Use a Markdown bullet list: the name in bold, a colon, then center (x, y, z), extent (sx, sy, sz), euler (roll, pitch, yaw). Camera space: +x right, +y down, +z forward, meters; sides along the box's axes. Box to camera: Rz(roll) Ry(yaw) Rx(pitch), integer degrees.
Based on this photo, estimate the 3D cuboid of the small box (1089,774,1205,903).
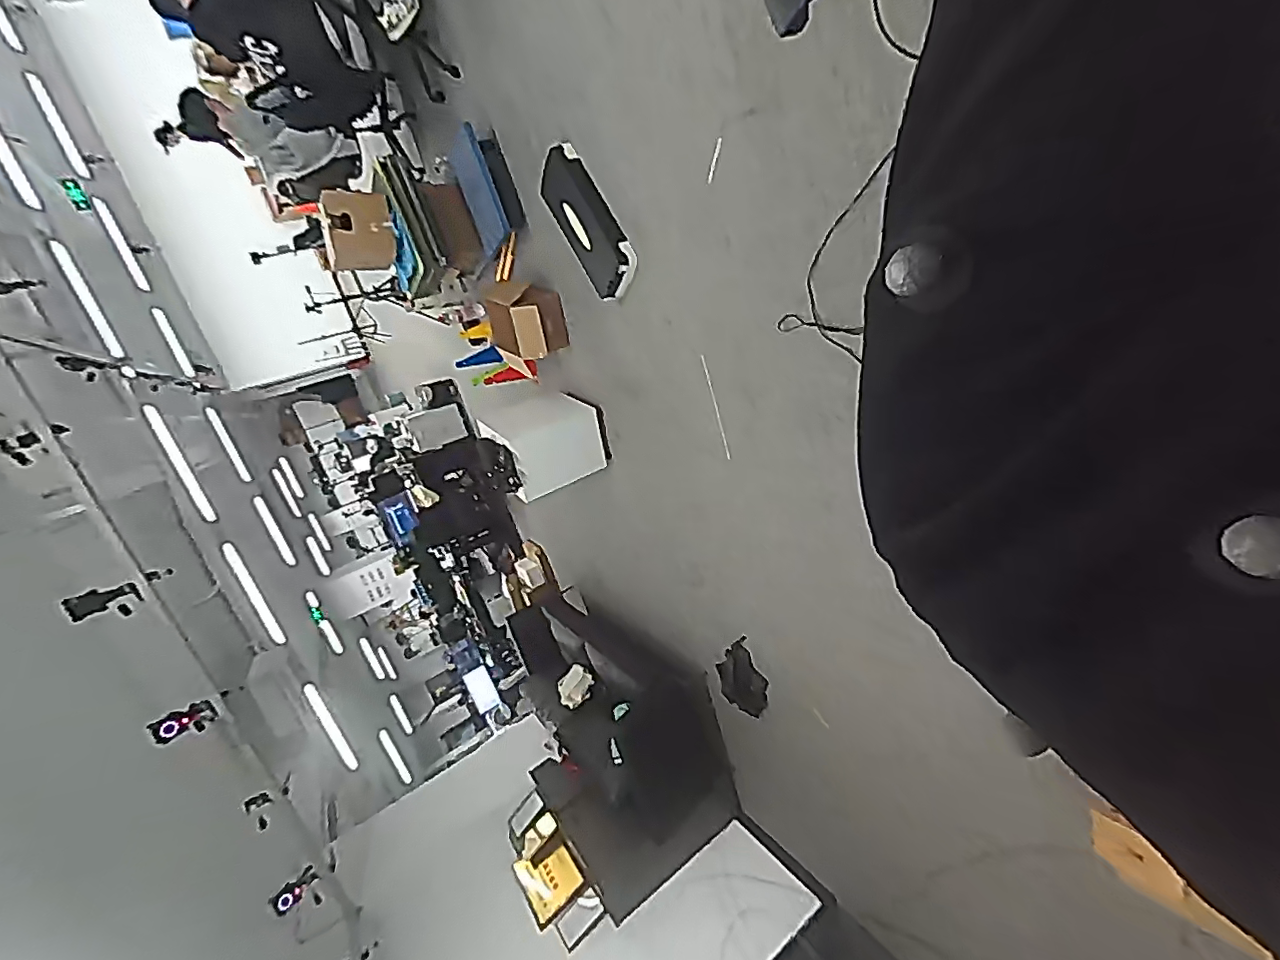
- **small box**: center (1.272, 0.883, 1.354), extent (0.179, 0.176, 0.168), euler (12, 124, 59)
